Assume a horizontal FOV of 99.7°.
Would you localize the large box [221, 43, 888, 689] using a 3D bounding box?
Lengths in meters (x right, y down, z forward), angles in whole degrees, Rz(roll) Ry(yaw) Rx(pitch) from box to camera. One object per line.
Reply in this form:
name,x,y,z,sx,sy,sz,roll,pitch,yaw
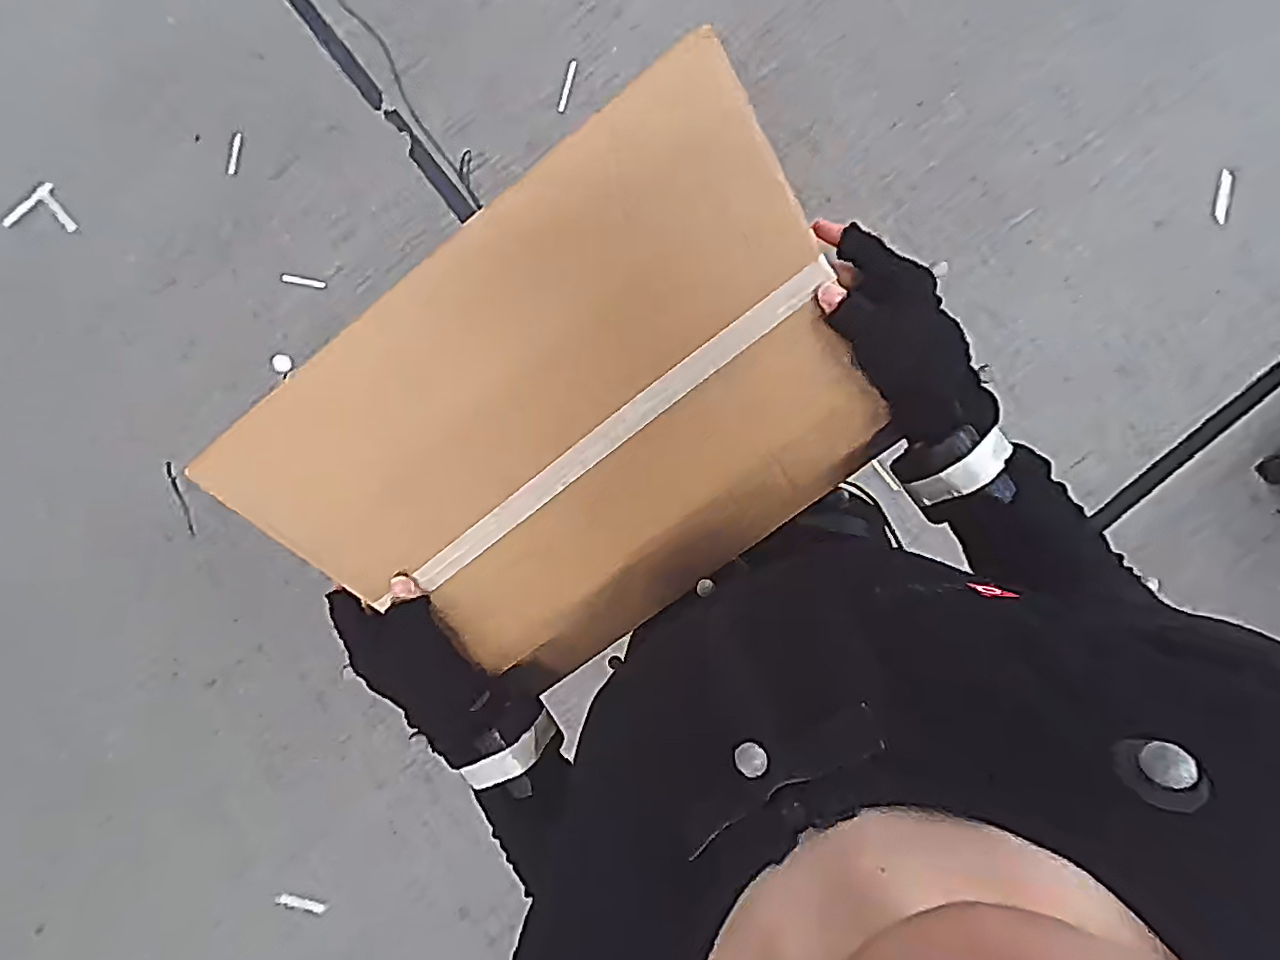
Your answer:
large box,-0.067,-0.091,0.530,0.408,0.320,0.320,-37,118,7
